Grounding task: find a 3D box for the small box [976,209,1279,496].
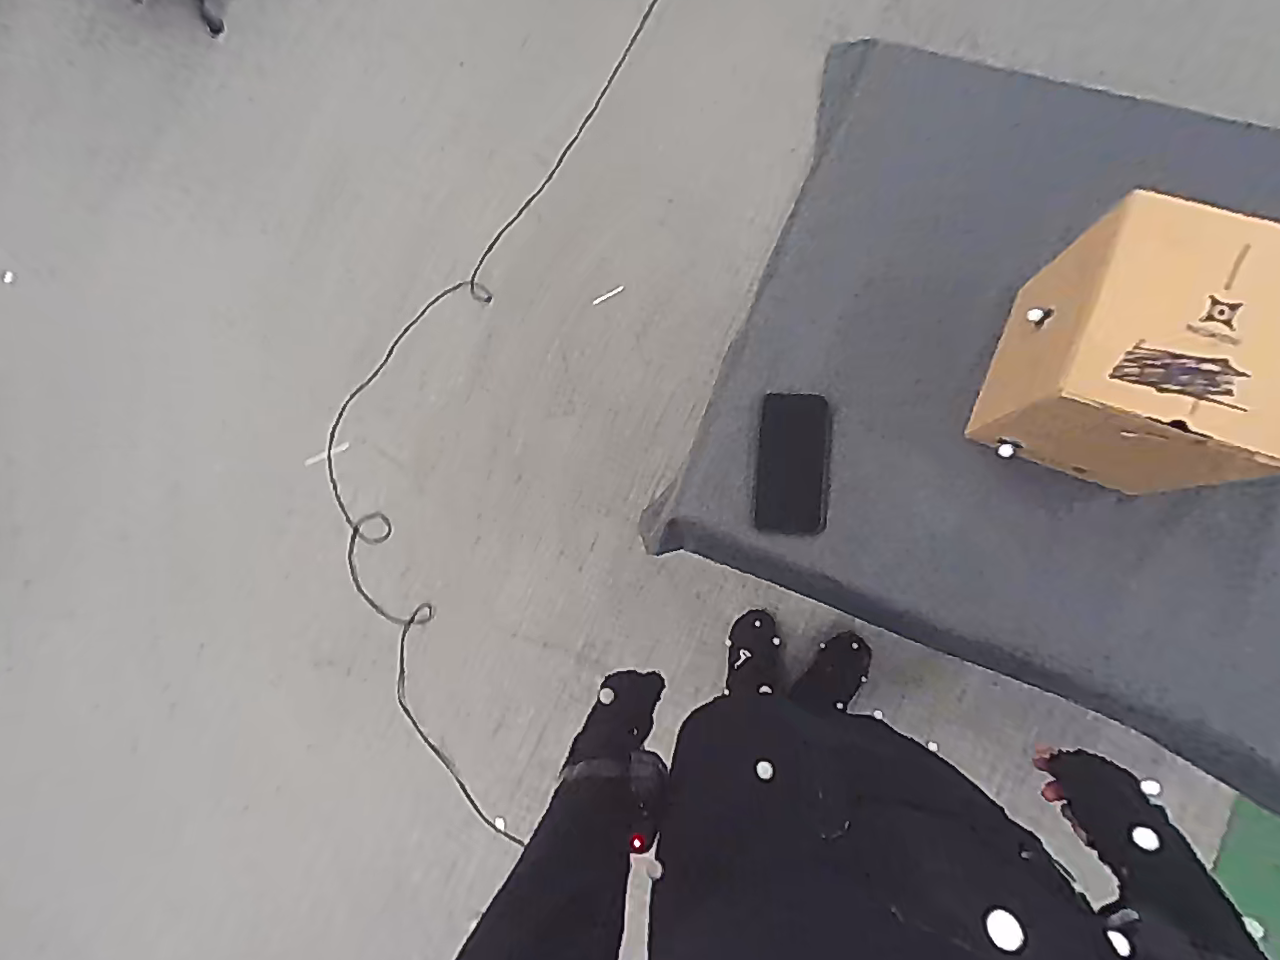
[{"bbox_3d":[0.440,-0.097,0.487,0.168,0.176,0.179,22,85,11],"label":"small box"}]
